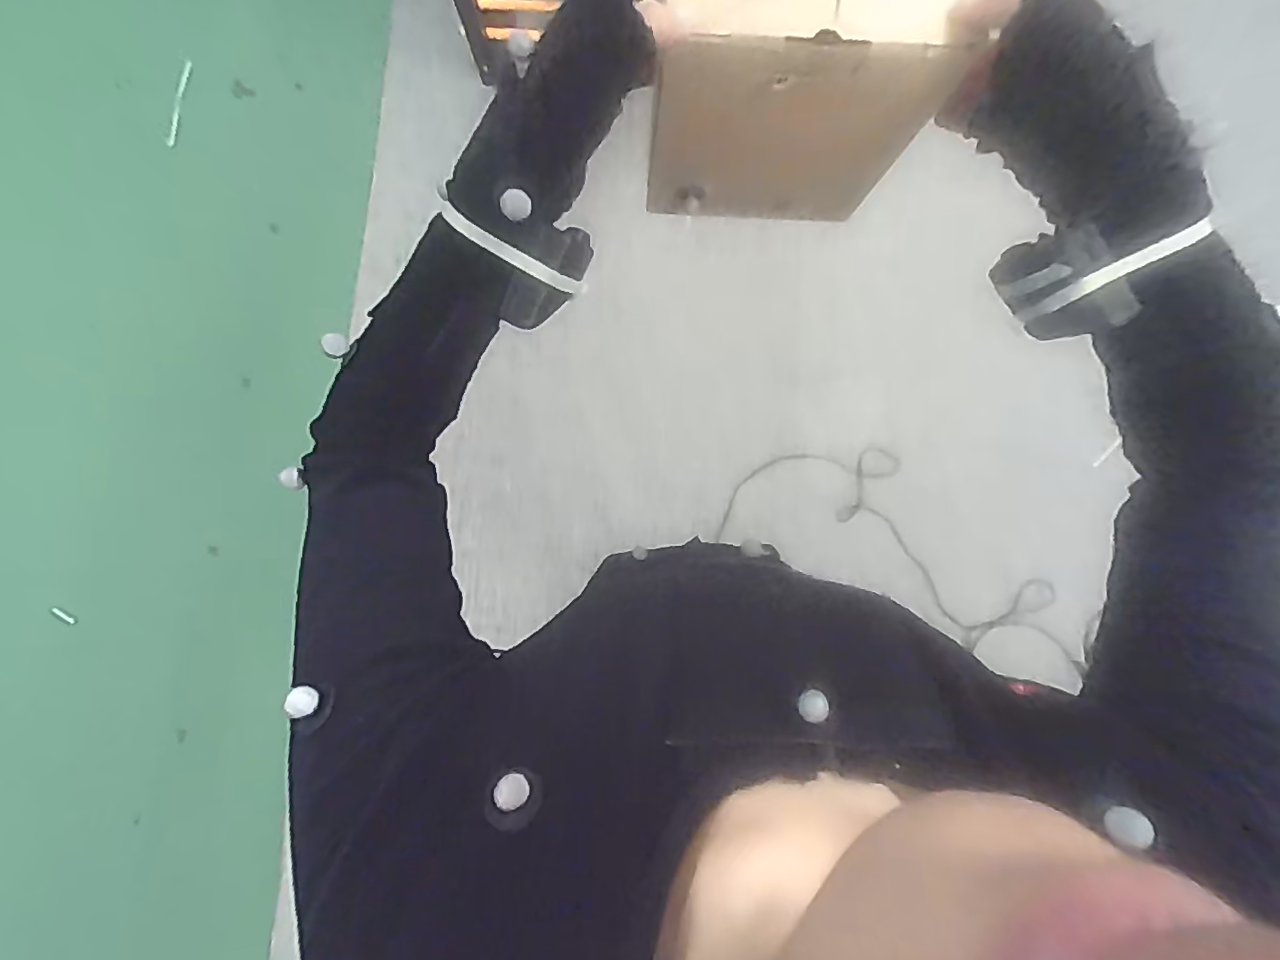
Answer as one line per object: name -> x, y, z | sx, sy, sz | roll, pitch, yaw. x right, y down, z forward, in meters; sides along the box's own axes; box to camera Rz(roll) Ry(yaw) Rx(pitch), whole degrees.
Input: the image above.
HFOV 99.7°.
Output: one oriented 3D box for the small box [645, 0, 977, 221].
small box -> 0.091, -0.298, 0.361 | 0.168, 0.176, 0.179 | 1, 85, -2
